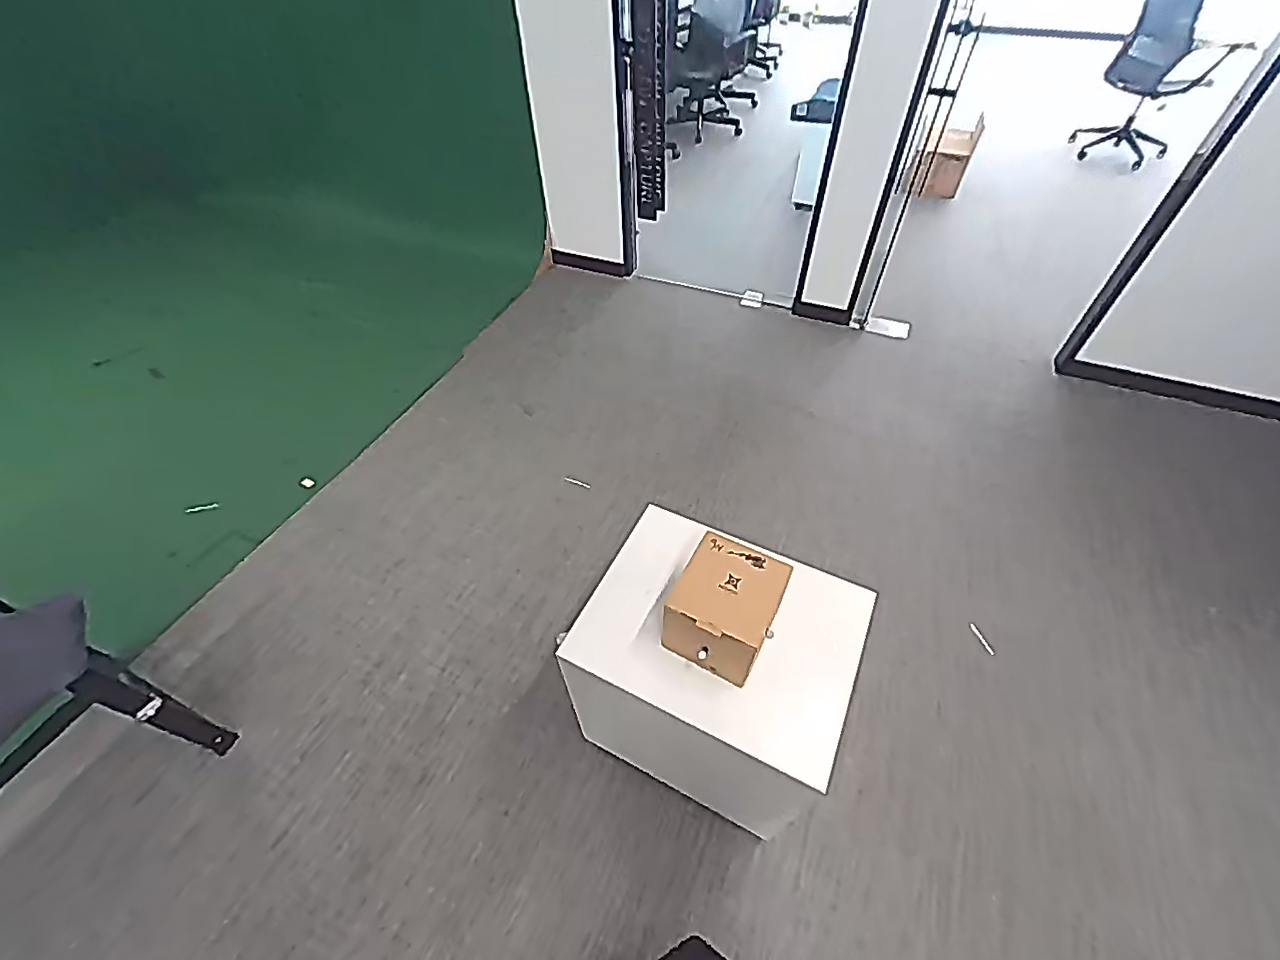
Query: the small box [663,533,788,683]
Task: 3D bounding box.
[{"bbox_3d":[0.151,0.234,0.976,0.168,0.176,0.179,21,52,18],"label":"small box"}]
